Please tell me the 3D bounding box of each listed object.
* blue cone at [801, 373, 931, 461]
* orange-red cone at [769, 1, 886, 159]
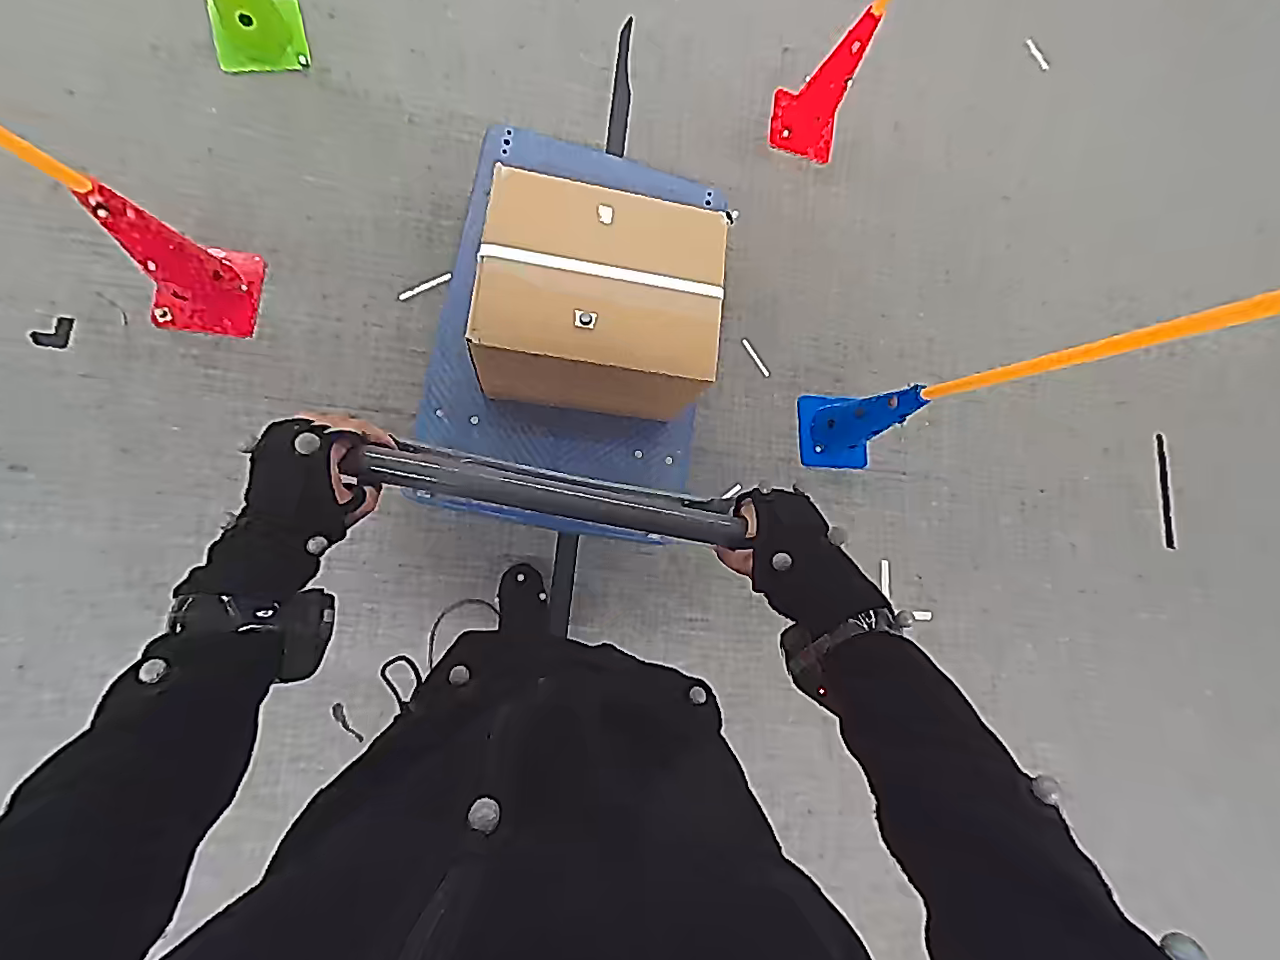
[{"bbox_3d":[0.565,-0.171,1.319,0.193,0.380,0.192,3,80,-12],"label":"blue cone"},{"bbox_3d":[0.519,-1.075,1.424,0.199,0.360,0.198,13,80,-11],"label":"orange-red cone"}]
